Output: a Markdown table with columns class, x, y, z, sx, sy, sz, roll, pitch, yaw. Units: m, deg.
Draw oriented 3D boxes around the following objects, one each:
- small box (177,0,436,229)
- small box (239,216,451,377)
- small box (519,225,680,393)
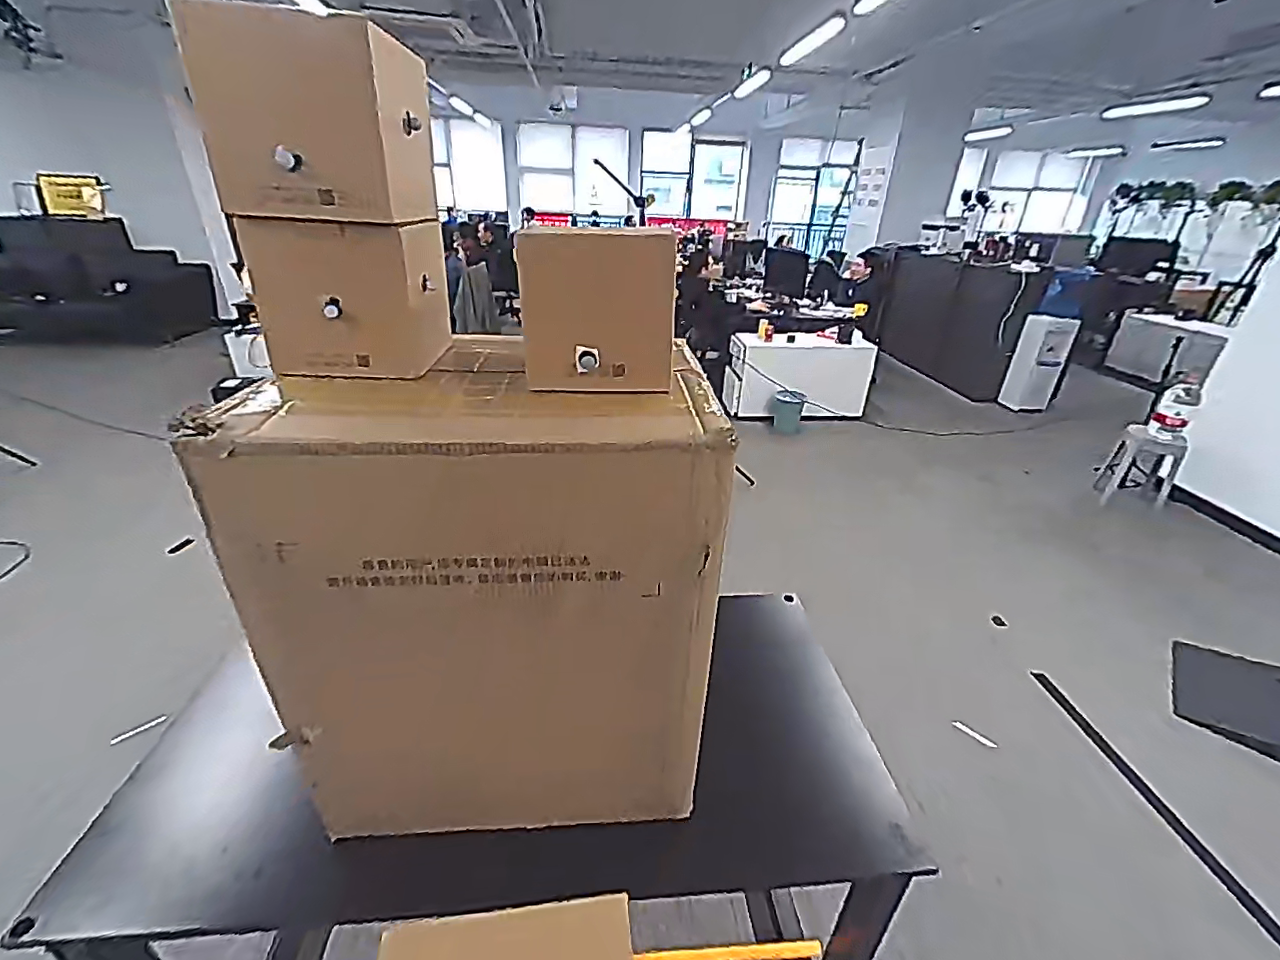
| class | x | y | z | sx | sy | sz | roll | pitch | yaw |
| --- | --- | --- | --- | --- | --- | --- | --- | --- | --- |
| small box | -0.326 | -0.370 | 0.577 | 0.168 | 0.176 | 0.179 | 1 | 28 | -5 |
| small box | -0.339 | -0.231 | 0.668 | 0.168 | 0.176 | 0.179 | 1 | 28 | -6 |
| small box | -0.045 | -0.212 | 0.654 | 0.168 | 0.176 | 0.179 | -1 | 28 | -2 |
